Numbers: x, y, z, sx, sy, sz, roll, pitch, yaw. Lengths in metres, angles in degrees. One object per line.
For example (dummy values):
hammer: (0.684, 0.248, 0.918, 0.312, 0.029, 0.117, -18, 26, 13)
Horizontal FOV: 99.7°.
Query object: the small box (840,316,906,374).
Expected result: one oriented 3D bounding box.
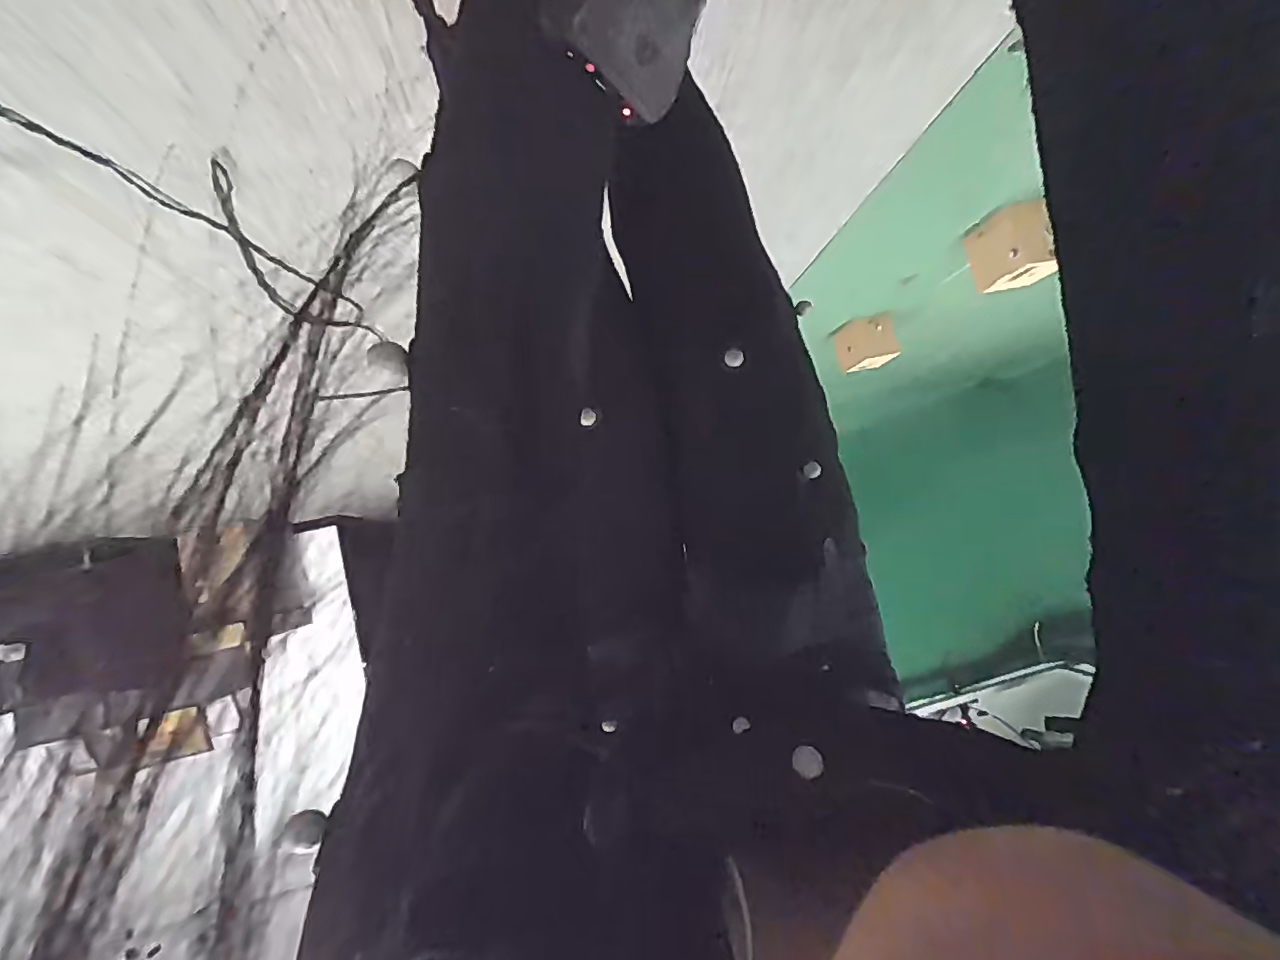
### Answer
small box: (0.927, -0.541, 2.170, 0.168, 0.176, 0.179, -12, 175, -9)
